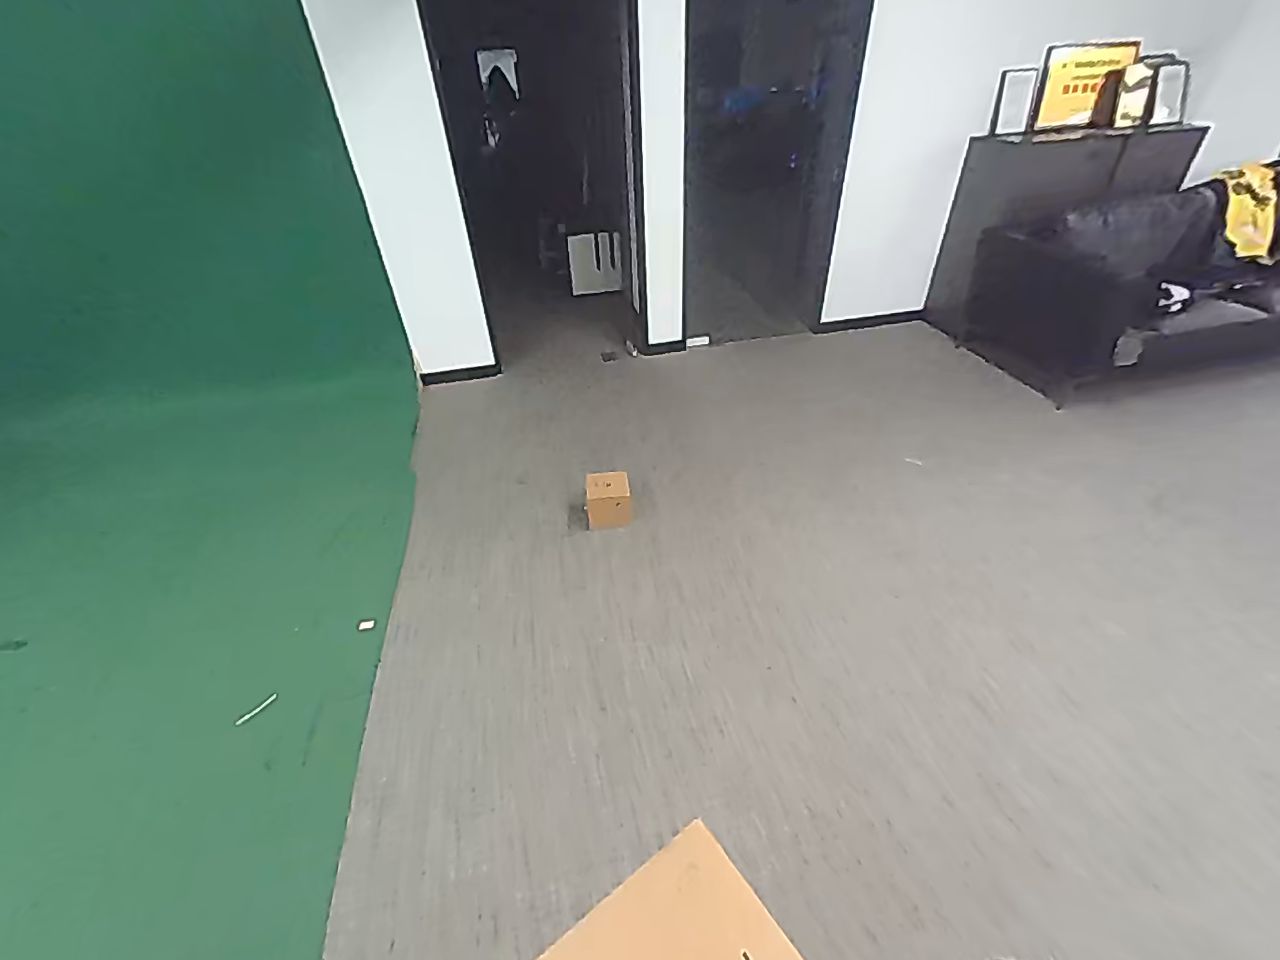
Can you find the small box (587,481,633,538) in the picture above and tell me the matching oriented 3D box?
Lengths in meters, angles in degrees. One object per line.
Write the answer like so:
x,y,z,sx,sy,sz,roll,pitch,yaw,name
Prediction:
-0.123,0.123,2.242,0.179,0.176,0.168,-6,37,-4,small box
